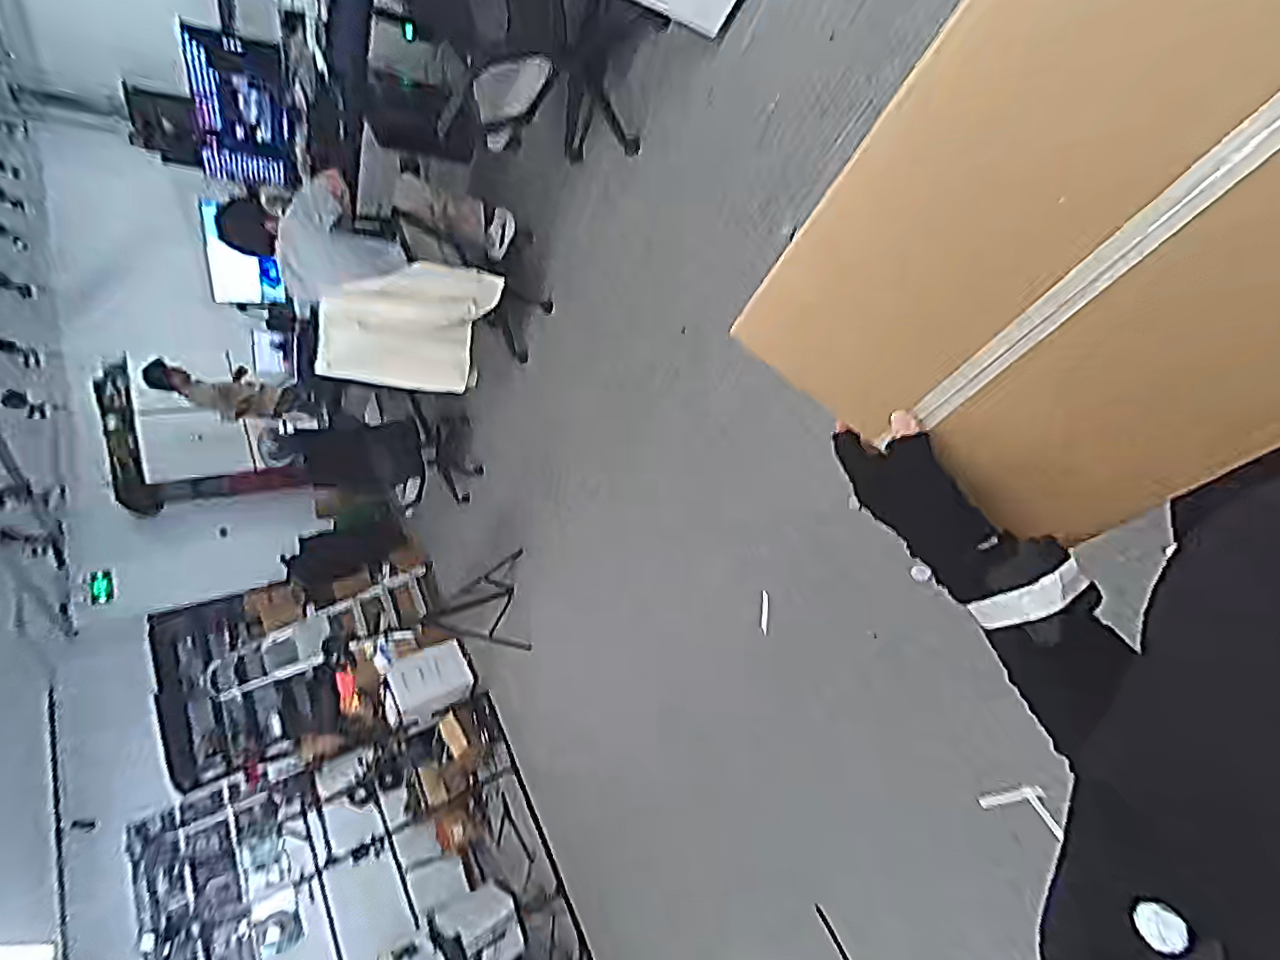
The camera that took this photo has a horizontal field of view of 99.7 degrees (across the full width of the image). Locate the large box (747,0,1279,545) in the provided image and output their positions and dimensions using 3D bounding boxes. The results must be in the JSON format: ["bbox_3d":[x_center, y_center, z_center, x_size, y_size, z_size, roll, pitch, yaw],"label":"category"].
[{"bbox_3d":[0.351,-0.230,0.418,0.320,0.320,0.408,36,135,1],"label":"large box"}]
